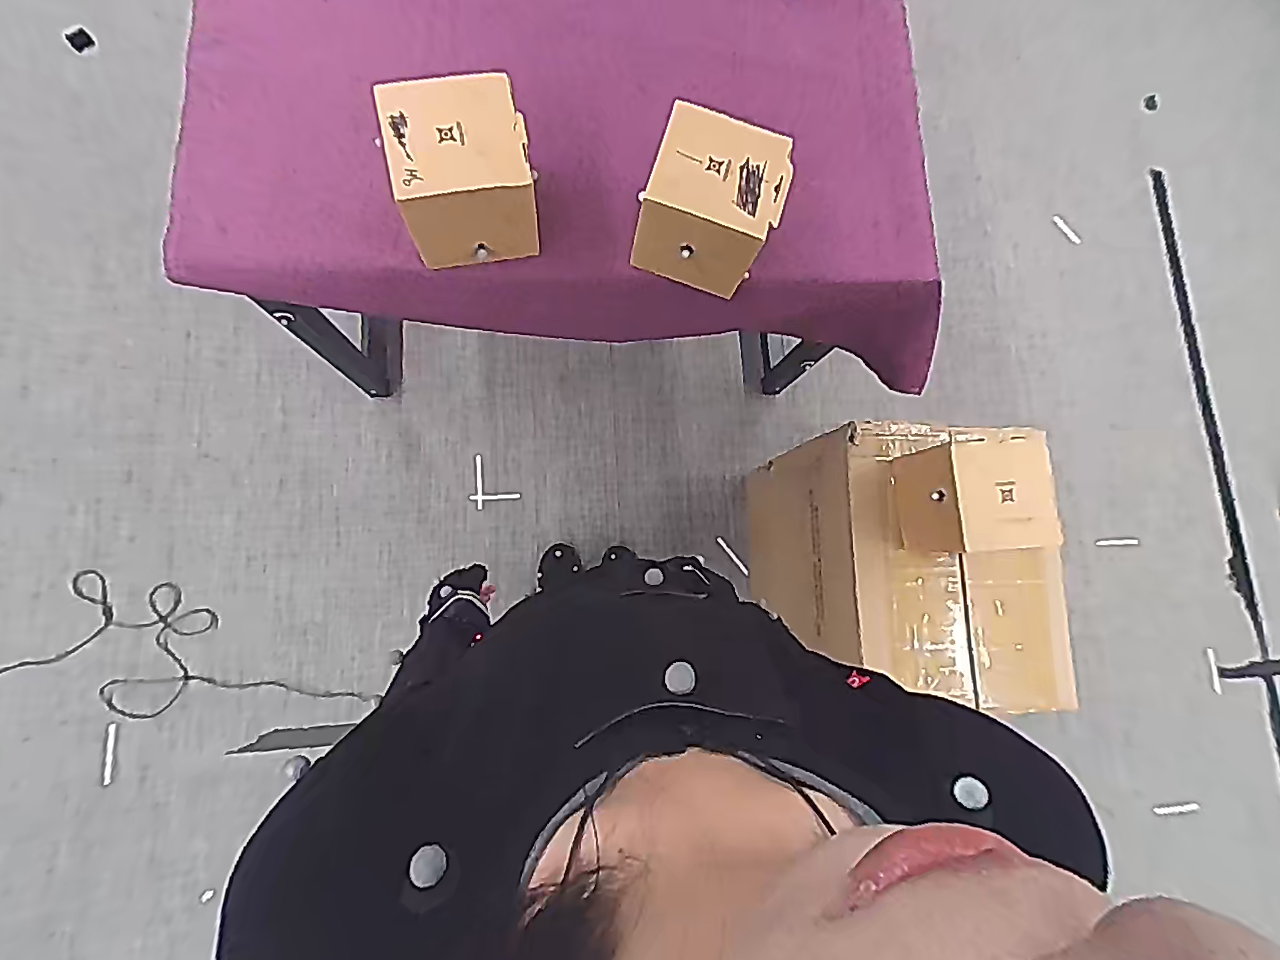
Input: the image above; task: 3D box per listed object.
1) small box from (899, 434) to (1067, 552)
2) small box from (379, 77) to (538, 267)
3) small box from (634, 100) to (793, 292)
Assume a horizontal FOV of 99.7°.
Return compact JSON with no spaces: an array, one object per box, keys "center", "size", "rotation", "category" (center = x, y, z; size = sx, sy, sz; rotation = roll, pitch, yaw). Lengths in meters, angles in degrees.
[{"center":[0.562,0.028,0.911],"size":[0.168,0.176,0.179],"rotation":[-4,83,-5],"category":"small box"},{"center":[-0.247,-0.431,0.775],"size":[0.179,0.176,0.168],"rotation":[-12,82,-10],"category":"small box"},{"center":[0.101,-0.412,0.816],"size":[0.179,0.176,0.168],"rotation":[18,79,-3],"category":"small box"}]
